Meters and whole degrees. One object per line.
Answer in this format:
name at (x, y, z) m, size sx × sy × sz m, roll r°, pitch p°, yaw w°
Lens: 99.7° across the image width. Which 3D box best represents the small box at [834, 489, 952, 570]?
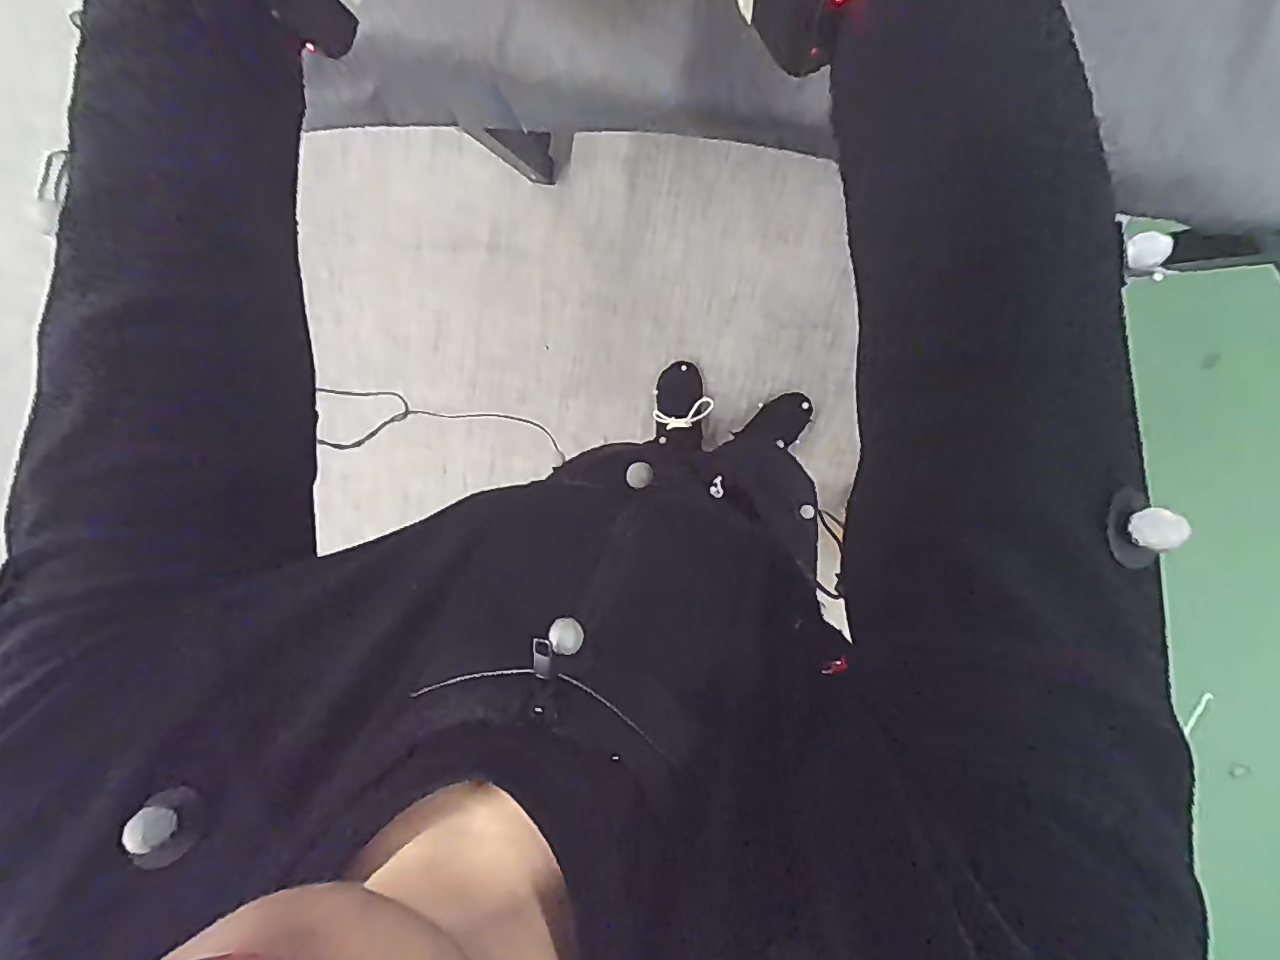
small box at (0.581, 0.134, 1.269) m, size 0.179 × 0.176 × 0.168 m, roll 17°, pitch 107°, yaw 4°
